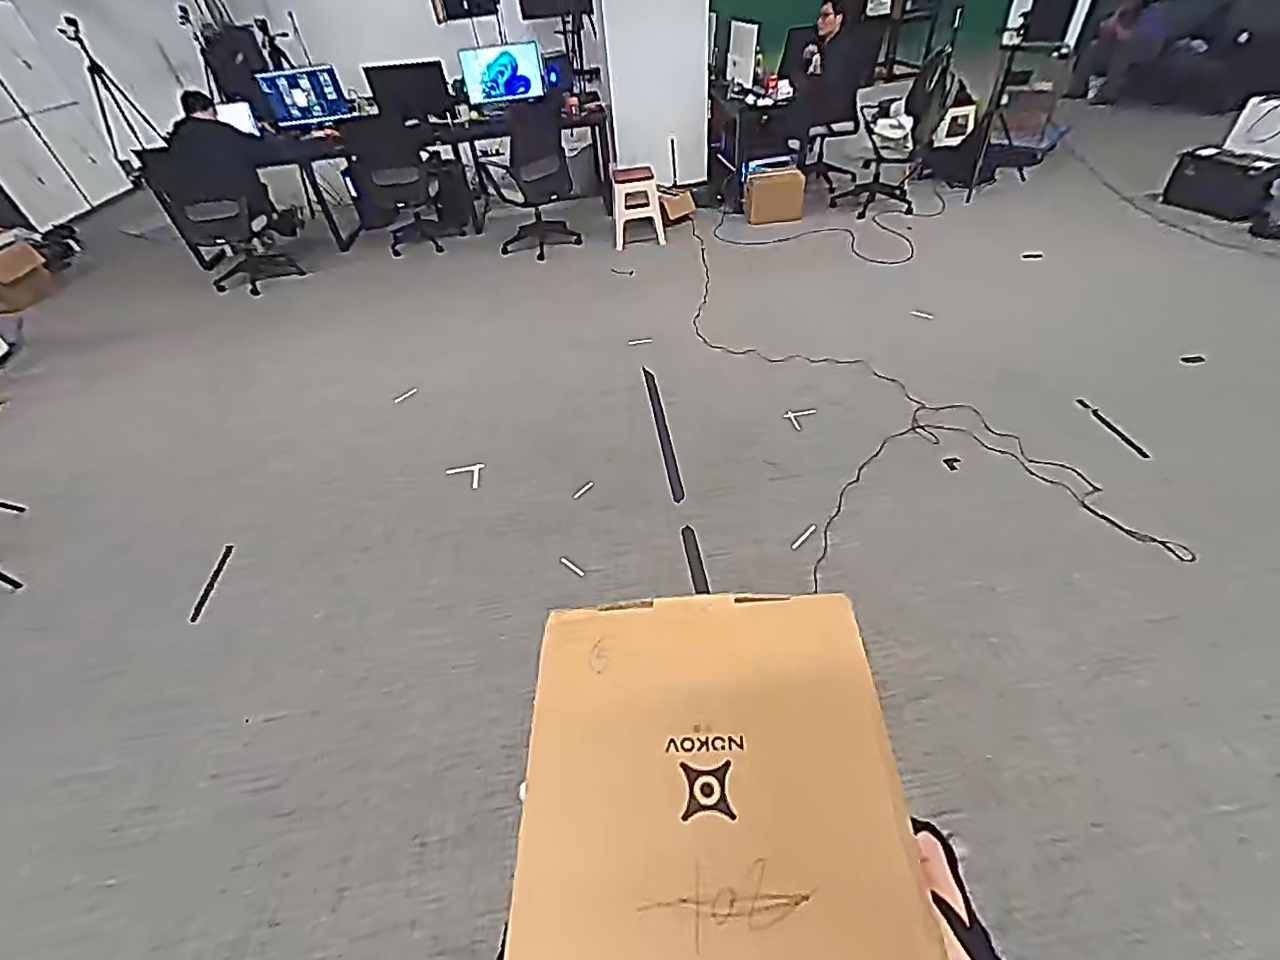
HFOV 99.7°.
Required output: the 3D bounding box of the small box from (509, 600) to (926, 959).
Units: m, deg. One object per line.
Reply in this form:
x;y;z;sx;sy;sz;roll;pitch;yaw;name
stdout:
0.037;0.189;0.313;0.168;0.176;0.179;-5;51;6;small box
